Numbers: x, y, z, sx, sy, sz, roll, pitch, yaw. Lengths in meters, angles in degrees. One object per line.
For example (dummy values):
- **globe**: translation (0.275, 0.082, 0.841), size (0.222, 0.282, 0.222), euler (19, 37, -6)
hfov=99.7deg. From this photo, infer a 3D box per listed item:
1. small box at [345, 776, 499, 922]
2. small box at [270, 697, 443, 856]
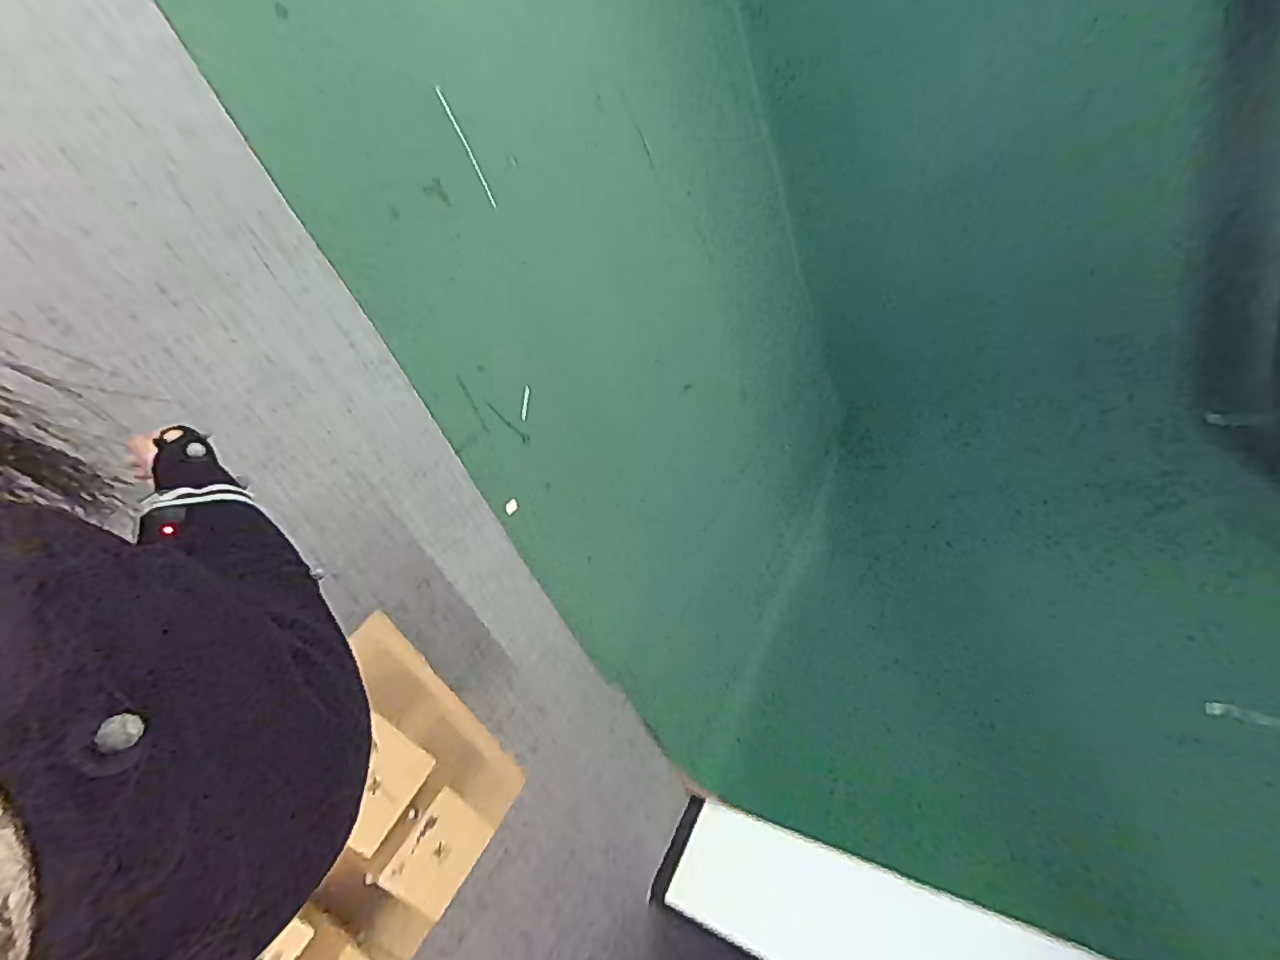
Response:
- **small box**: translation (-0.411, 0.679, 1.028), size (0.168, 0.176, 0.179), euler (-53, 128, -39)
- **small box**: translation (-0.492, 0.501, 0.938), size (0.168, 0.176, 0.179), euler (-55, 128, -35)
